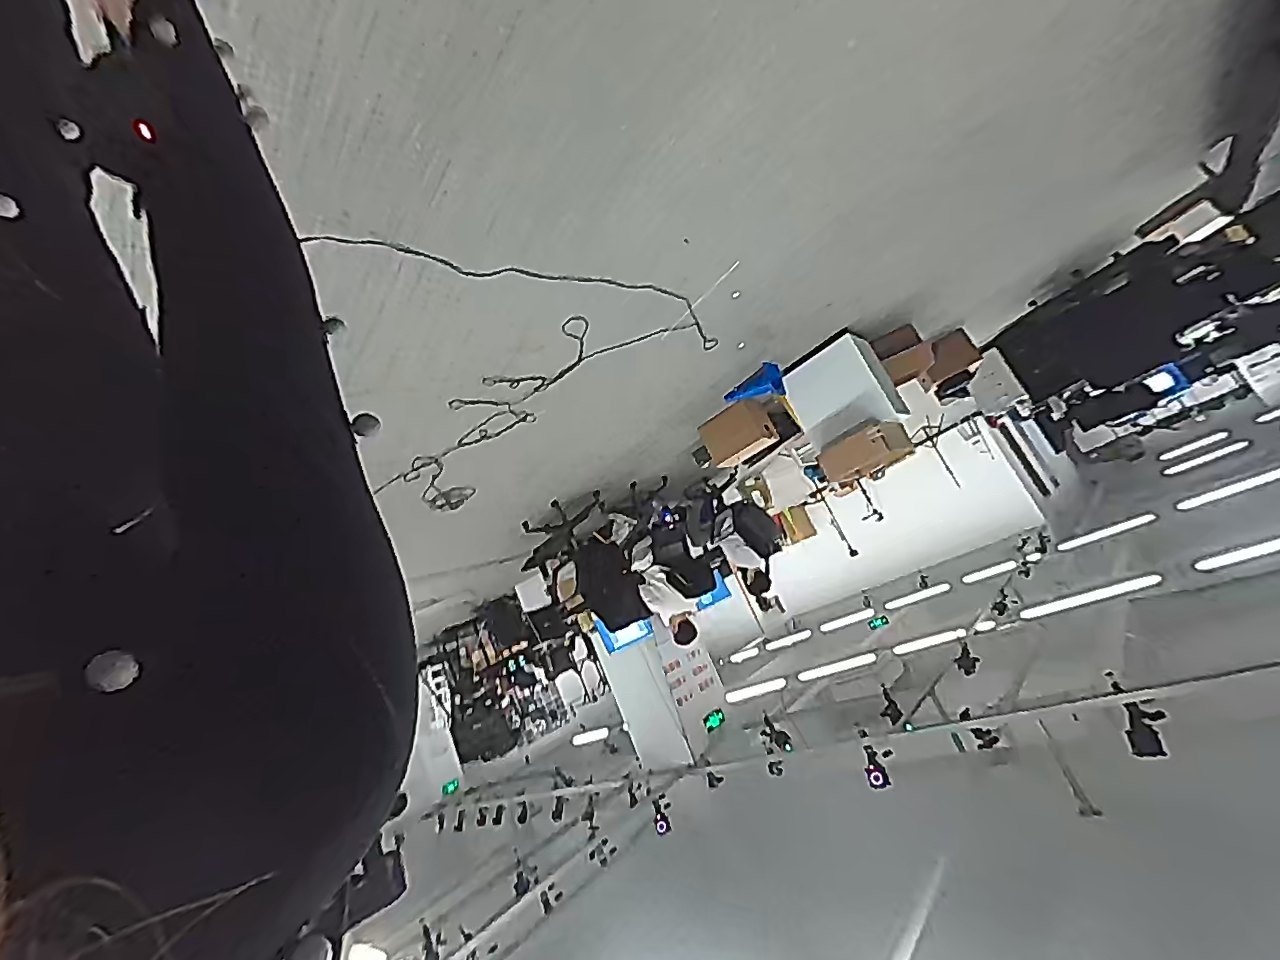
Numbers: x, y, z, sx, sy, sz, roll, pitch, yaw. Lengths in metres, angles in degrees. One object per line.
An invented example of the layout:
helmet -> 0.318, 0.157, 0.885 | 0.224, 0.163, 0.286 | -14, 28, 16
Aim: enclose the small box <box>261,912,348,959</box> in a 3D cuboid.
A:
small box -> -0.913, 1.324, 1.478 | 0.168, 0.176, 0.179 | -9, 162, -47
